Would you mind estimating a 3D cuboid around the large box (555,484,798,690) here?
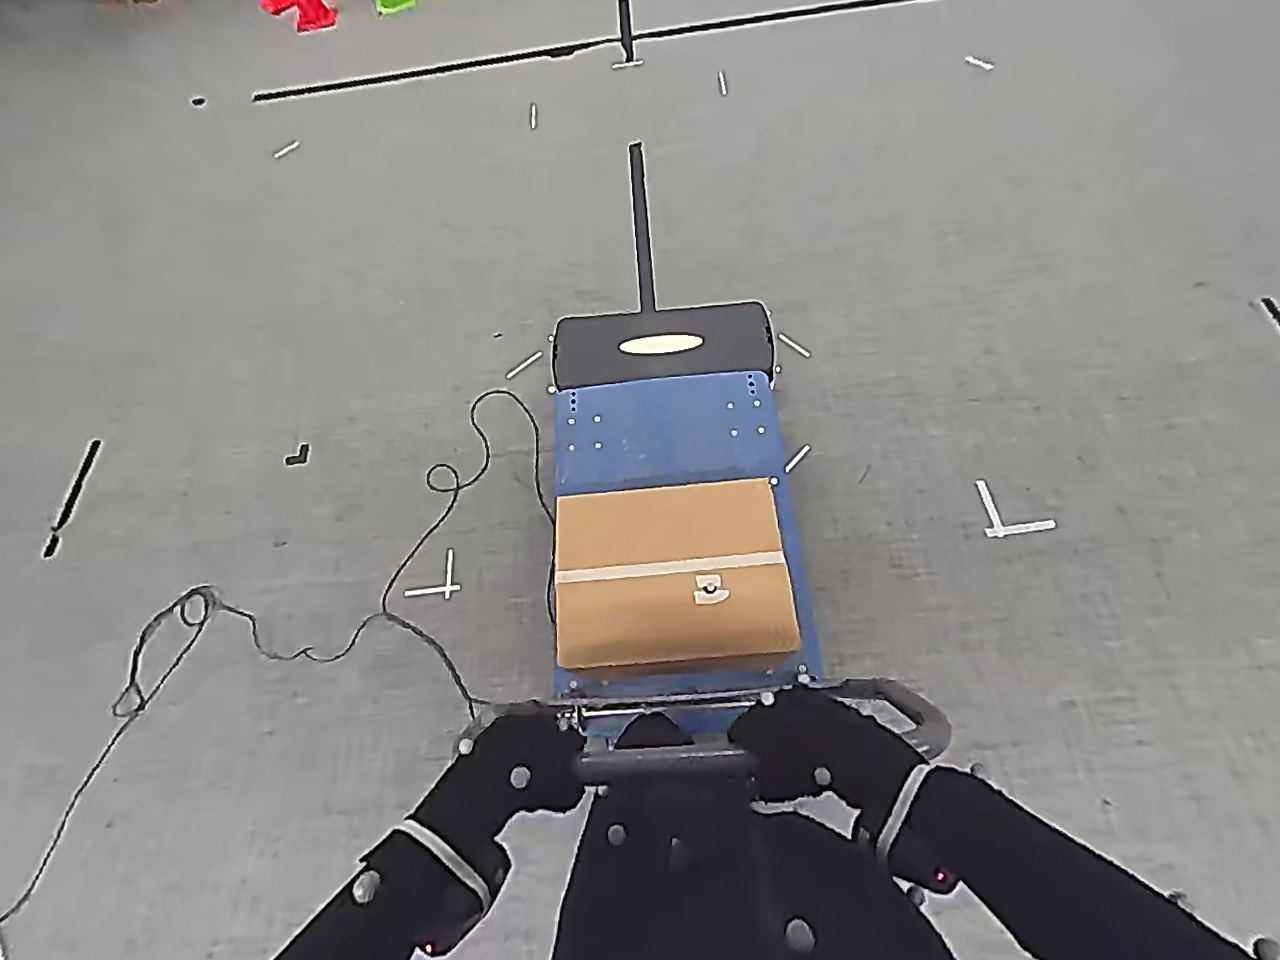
[{"bbox_3d":[0.059,0.229,1.079,0.408,0.320,0.320,-5,66,2],"label":"large box"}]
